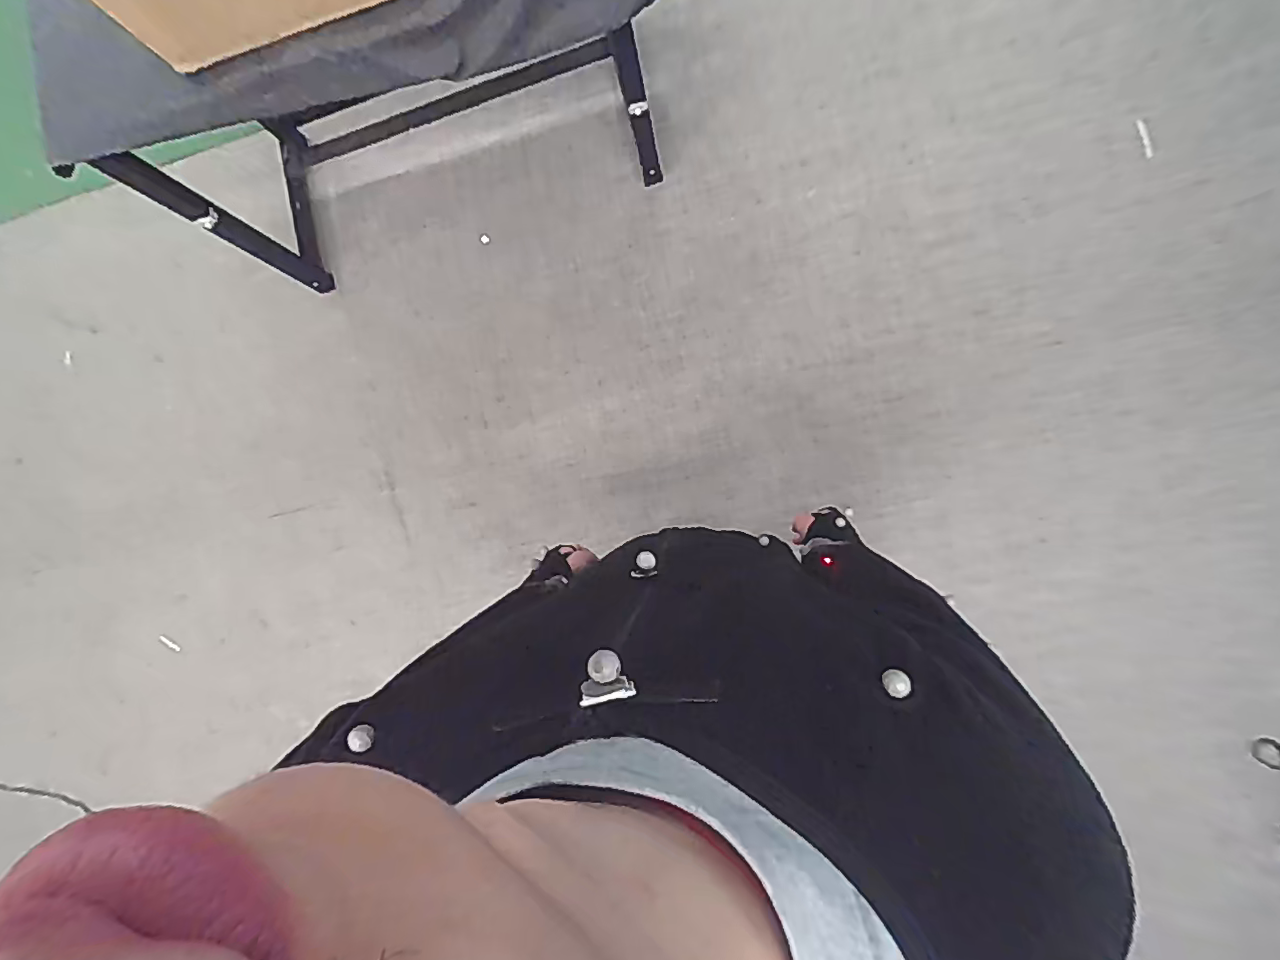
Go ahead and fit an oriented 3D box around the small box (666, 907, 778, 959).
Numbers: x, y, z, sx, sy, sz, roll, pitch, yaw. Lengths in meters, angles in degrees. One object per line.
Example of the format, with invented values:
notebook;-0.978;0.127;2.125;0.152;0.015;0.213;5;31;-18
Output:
small box;0.138;0.805;0.818;0.168;0.176;0.179;-16;85;7
